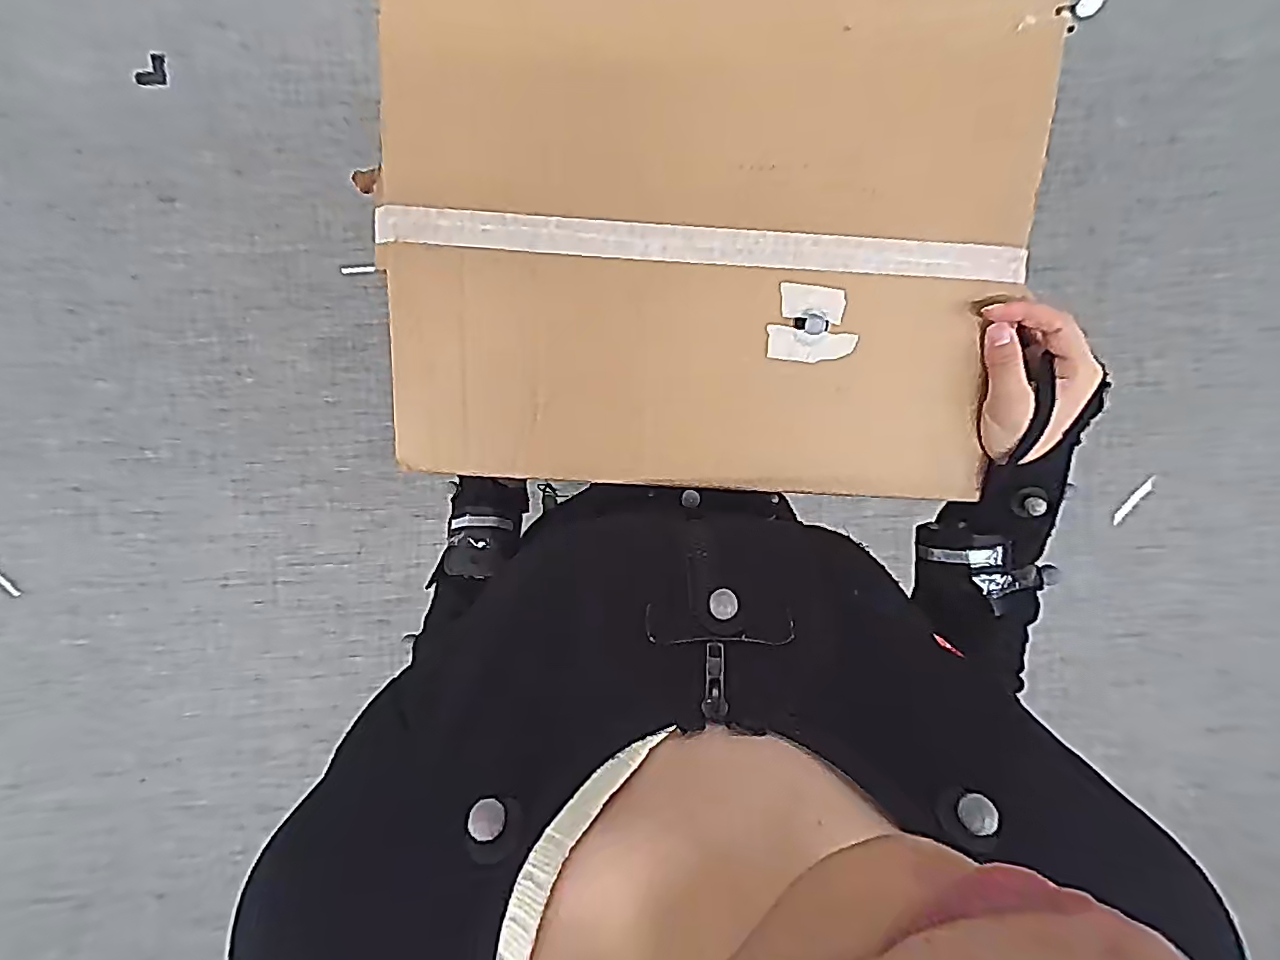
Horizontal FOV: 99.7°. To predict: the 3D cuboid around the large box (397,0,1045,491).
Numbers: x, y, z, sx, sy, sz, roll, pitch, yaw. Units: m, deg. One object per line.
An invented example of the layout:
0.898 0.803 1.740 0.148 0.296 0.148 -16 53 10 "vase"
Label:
0.041 -0.174 0.498 0.408 0.320 0.320 2 102 -3 "large box"
